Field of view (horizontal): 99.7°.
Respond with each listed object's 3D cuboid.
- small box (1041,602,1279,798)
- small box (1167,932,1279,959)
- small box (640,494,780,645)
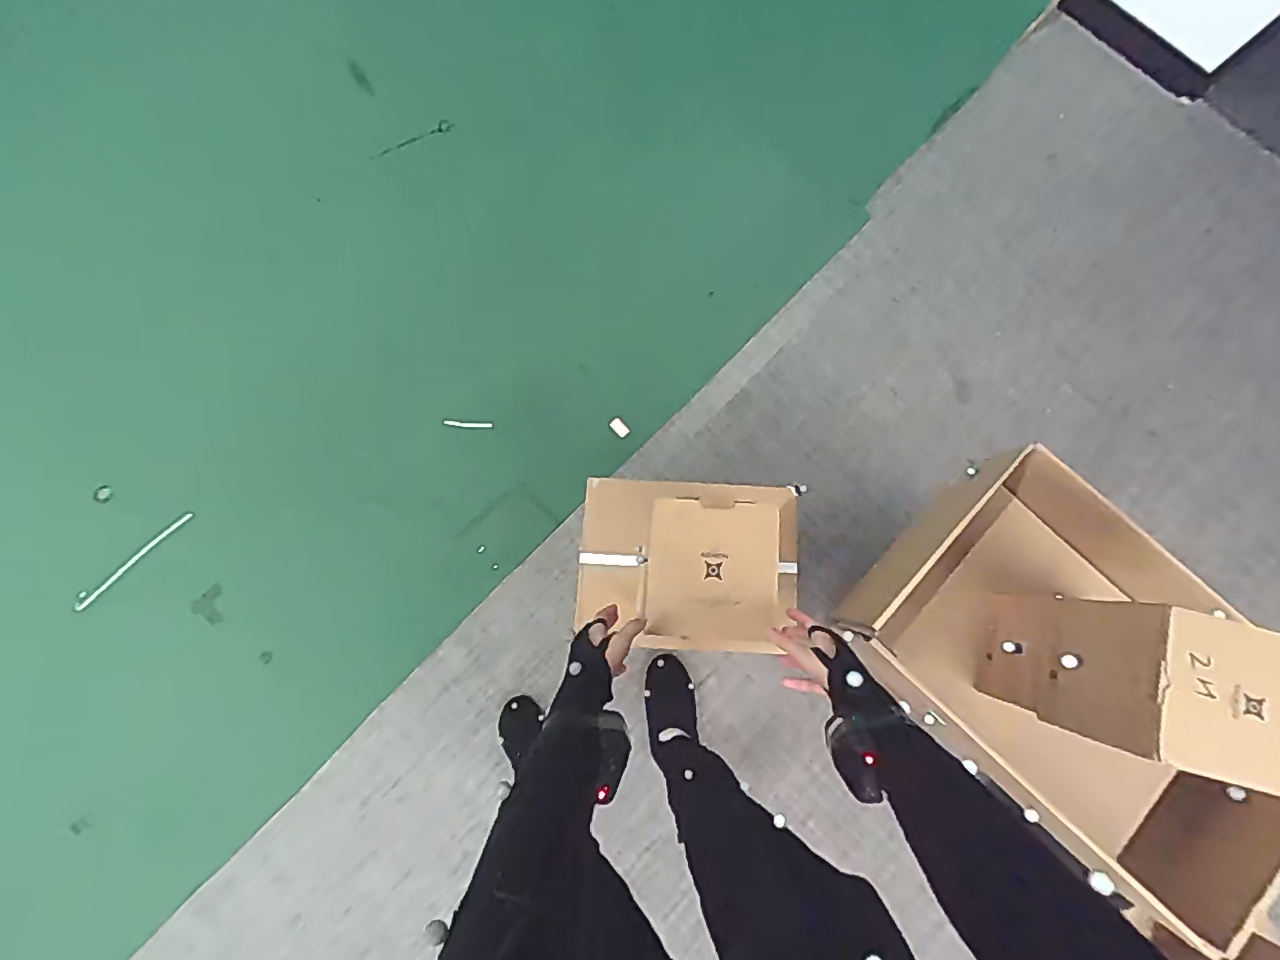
[{"bbox_3d":[0.624,0.243,0.632,0.179,0.176,0.168,15,80,2],"label":"small box"},{"bbox_3d":[0.969,0.836,0.816,0.179,0.176,0.168,-11,81,-4],"label":"small box"},{"bbox_3d":[0.088,0.122,0.747,0.168,0.176,0.179,4,80,0],"label":"small box"}]
